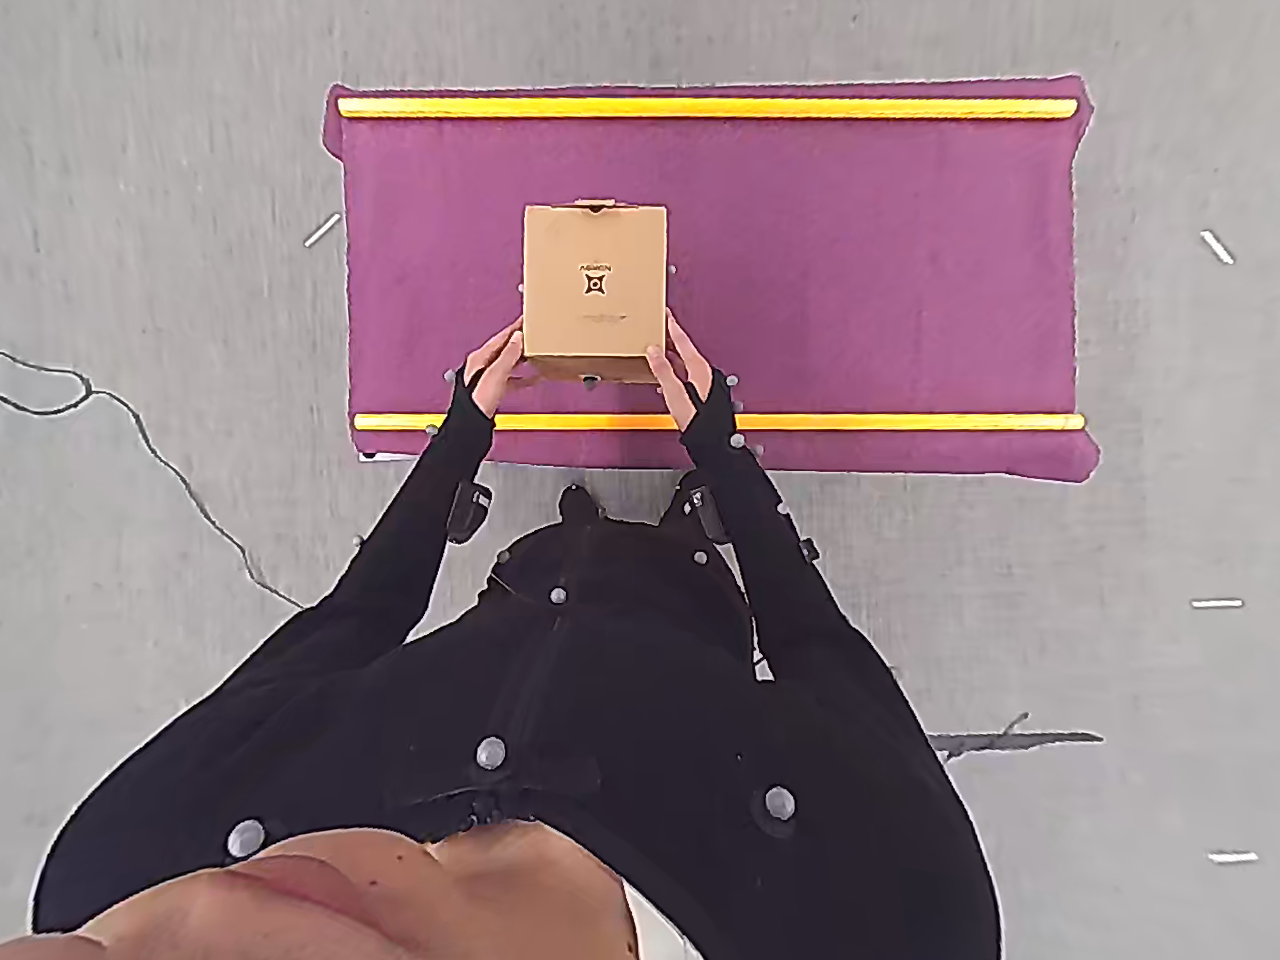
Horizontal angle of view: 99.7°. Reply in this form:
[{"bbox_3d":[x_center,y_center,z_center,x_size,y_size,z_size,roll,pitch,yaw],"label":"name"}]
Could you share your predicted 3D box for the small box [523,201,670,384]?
[{"bbox_3d":[-0.050,-0.229,0.694,0.168,0.176,0.179,0,89,0],"label":"small box"}]
